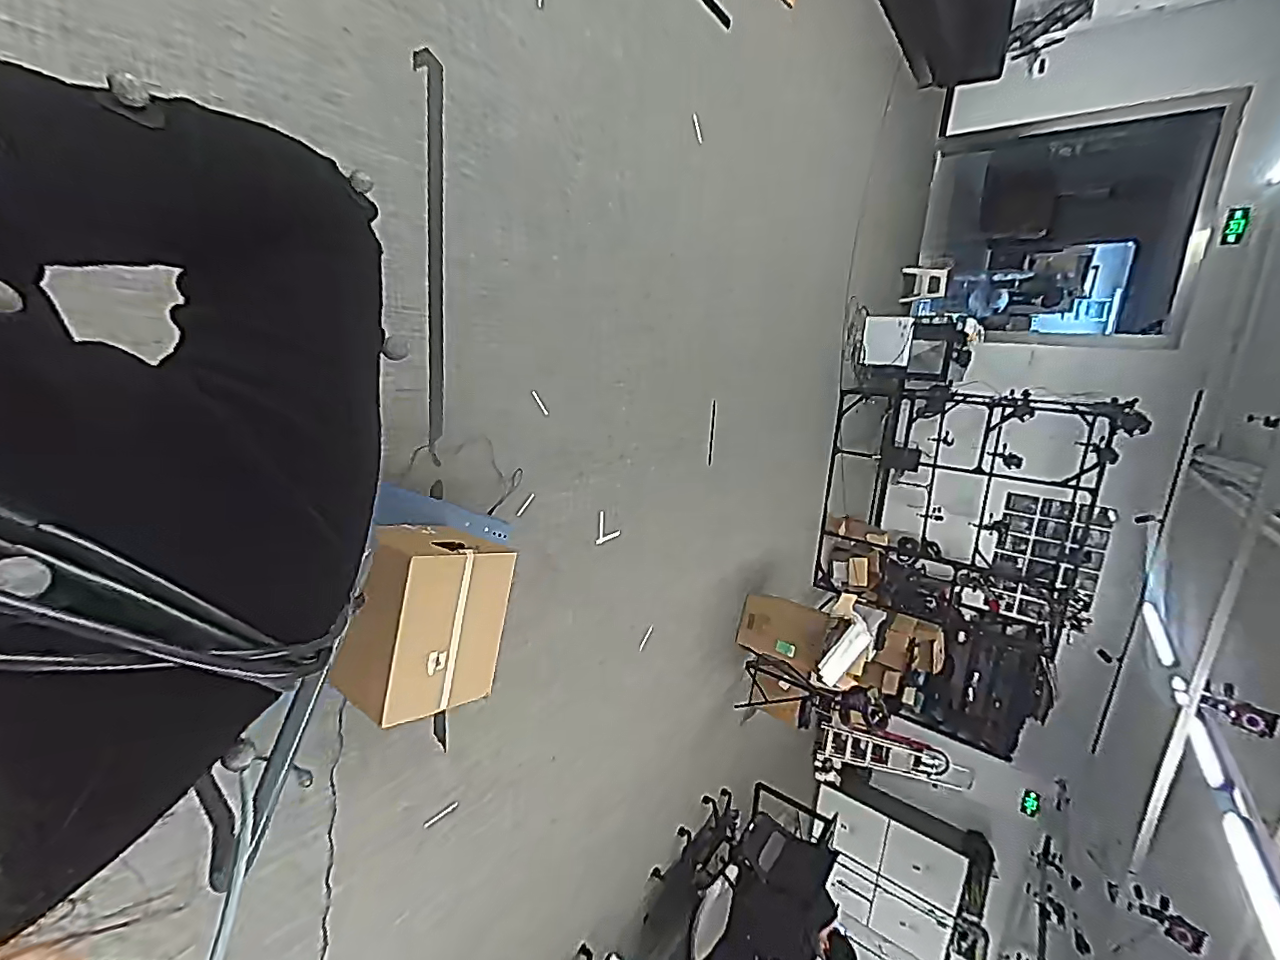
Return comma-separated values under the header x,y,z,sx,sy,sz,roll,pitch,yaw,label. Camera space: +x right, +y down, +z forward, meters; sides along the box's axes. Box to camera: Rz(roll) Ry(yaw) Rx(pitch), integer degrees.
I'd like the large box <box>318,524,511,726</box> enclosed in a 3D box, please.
x,y,z,sx,sy,sz,roll,pitch,yaw,label
-0.582,0.342,1.406,0.320,0.320,0.408,8,94,-54,large box
